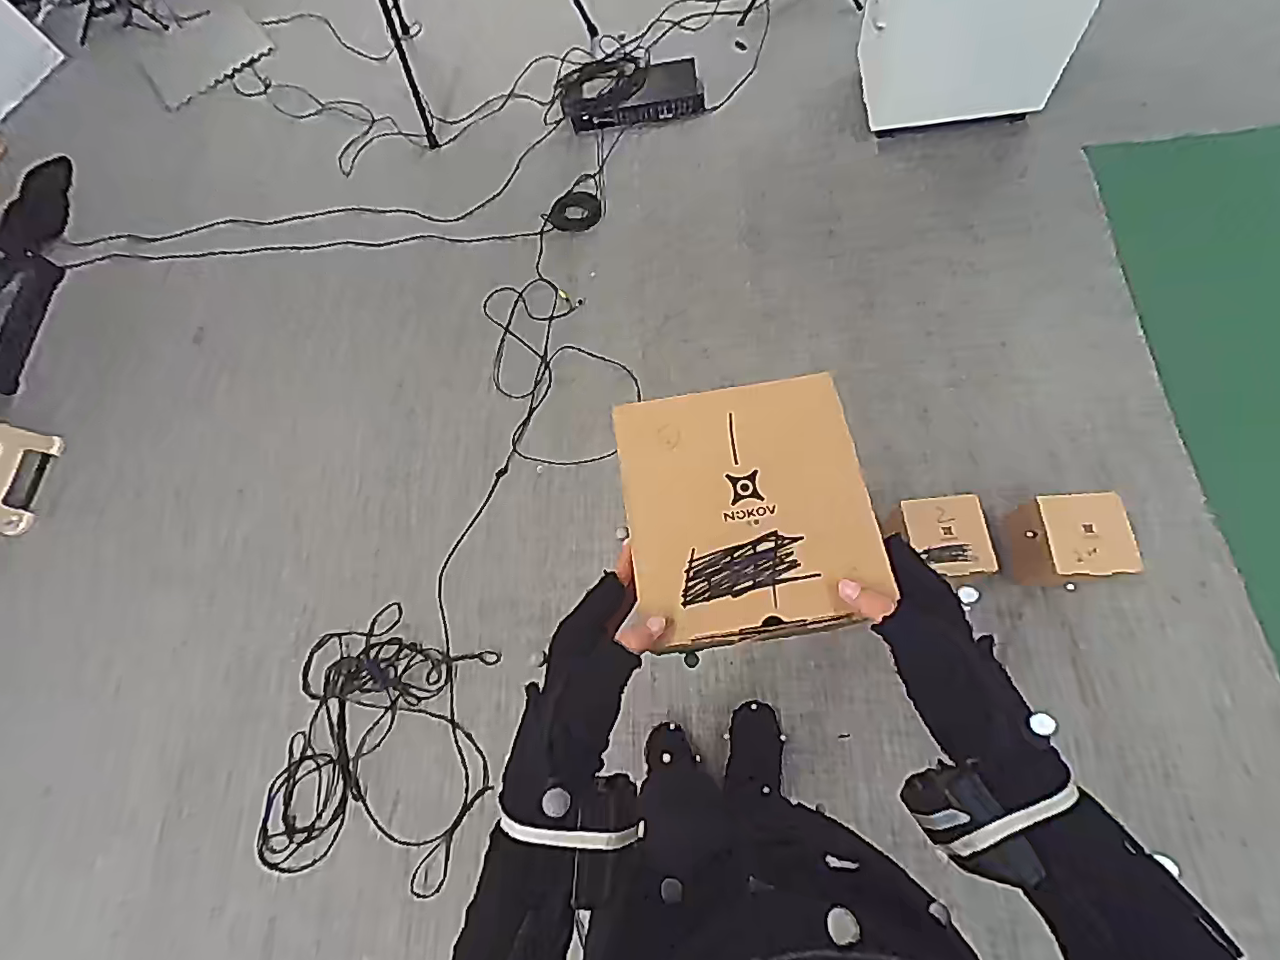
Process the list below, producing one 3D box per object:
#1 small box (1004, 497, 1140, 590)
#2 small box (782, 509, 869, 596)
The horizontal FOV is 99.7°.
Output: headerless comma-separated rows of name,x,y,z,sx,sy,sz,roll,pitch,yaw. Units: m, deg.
small box,0.958,0.148,1.221,0.168,0.176,0.179,-3,70,9
small box,0.435,0.179,1.299,0.168,0.176,0.179,-3,69,9
